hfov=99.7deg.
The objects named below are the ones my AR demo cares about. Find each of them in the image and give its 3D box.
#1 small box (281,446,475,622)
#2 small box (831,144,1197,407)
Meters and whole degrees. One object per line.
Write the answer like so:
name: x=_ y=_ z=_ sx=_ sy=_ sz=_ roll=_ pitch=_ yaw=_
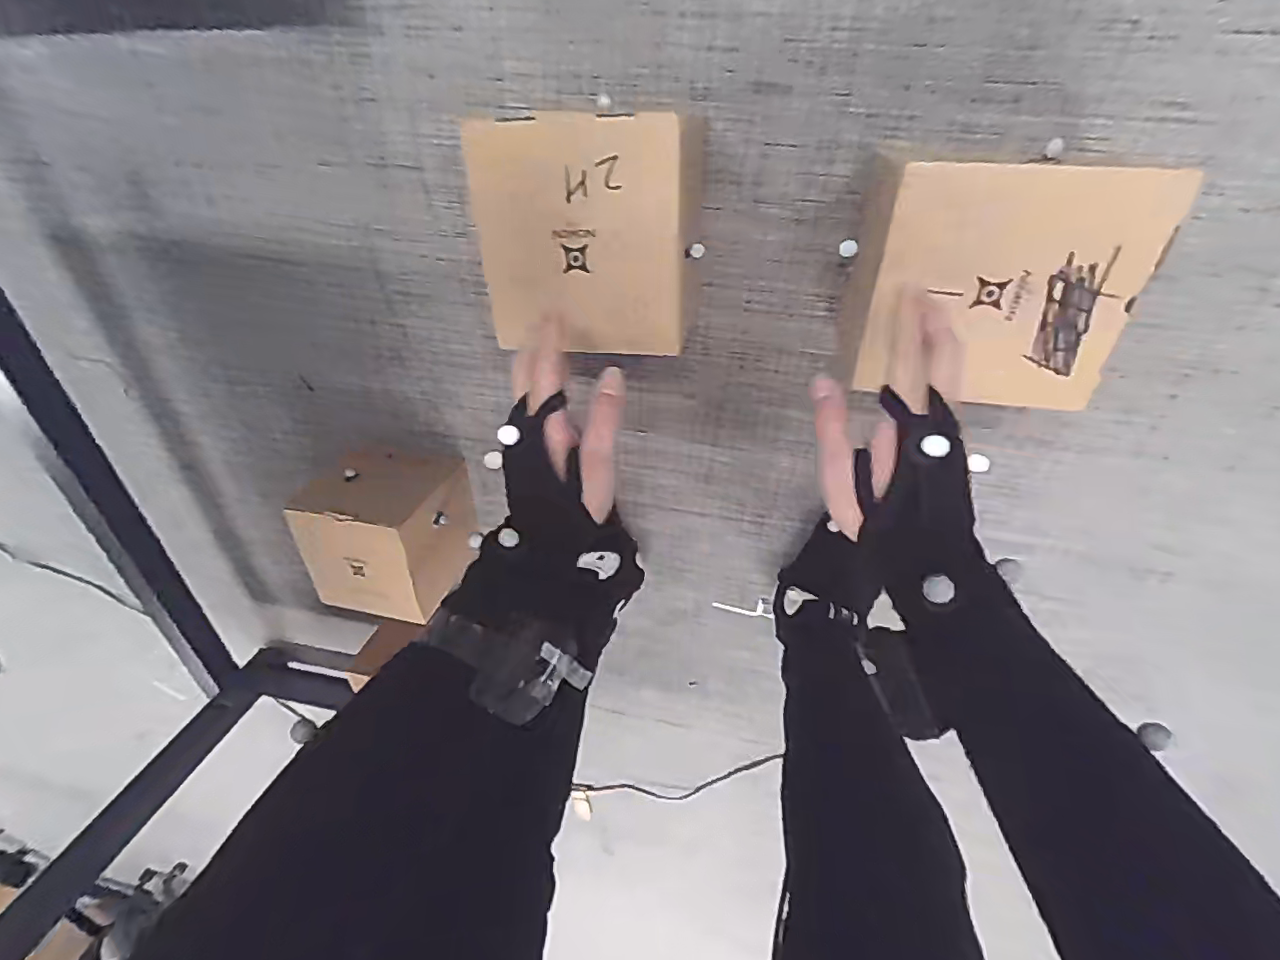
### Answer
small box: x=-0.356 y=0.069 z=0.773 sx=0.168 sy=0.176 sz=0.179 roll=9 pitch=125 yaw=10
small box: x=0.268 y=-0.177 z=0.447 sx=0.179 sy=0.176 sz=0.168 roll=8 pitch=124 yaw=11
